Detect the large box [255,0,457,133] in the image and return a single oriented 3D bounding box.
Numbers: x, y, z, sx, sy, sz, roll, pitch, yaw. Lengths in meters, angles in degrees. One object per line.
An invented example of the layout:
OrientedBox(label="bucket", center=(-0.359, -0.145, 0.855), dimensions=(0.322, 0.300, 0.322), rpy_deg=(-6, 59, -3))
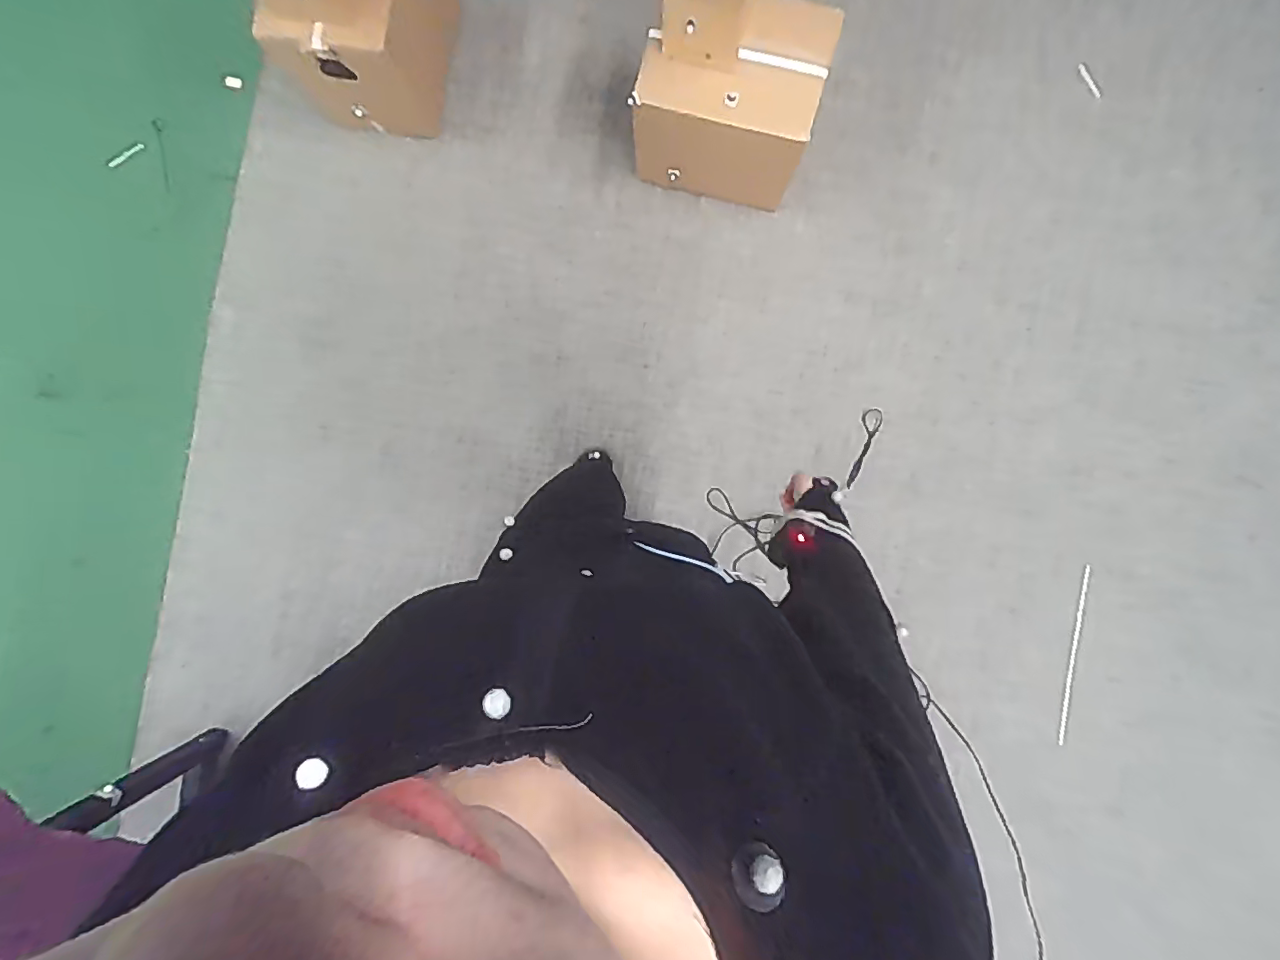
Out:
OrientedBox(label="large box", center=(-0.698, -1.188, 1.382), dimensions=(0.320, 0.320, 0.408), rpy_deg=(9, 89, 2))

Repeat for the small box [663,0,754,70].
OrientedBox(label="small box", center=(0.149, -0.999, 1.111), dimensions=(0.168, 0.176, 0.179), rpy_deg=(16, 88, 2))
